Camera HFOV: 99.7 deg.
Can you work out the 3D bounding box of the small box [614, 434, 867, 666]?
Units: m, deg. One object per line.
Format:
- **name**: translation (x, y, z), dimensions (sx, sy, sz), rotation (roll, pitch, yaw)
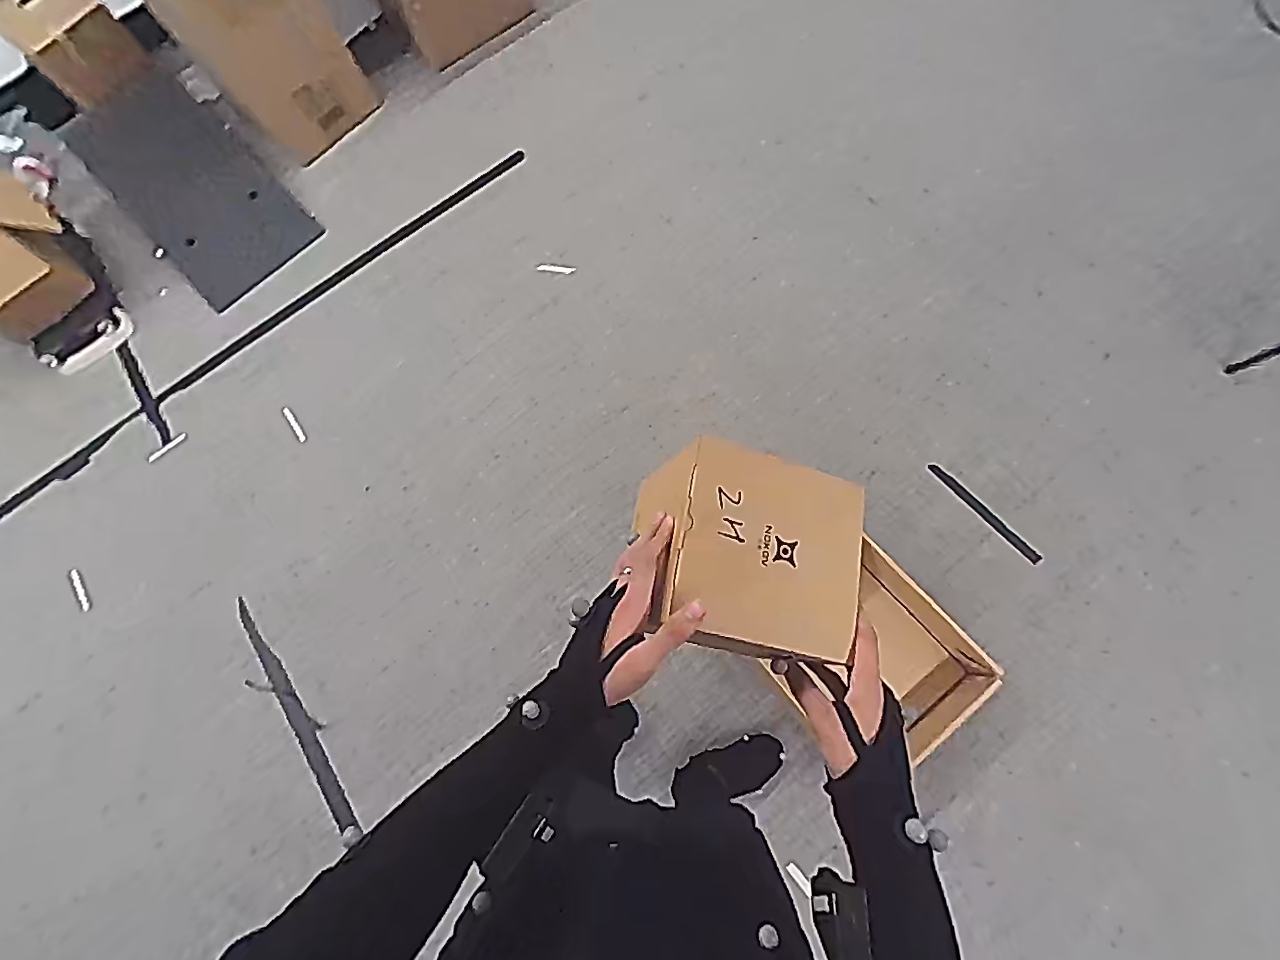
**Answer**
- **small box**: translation (0.091, 0.077, 0.533), dimensions (0.179, 0.176, 0.168), rotation (16, 71, -13)
